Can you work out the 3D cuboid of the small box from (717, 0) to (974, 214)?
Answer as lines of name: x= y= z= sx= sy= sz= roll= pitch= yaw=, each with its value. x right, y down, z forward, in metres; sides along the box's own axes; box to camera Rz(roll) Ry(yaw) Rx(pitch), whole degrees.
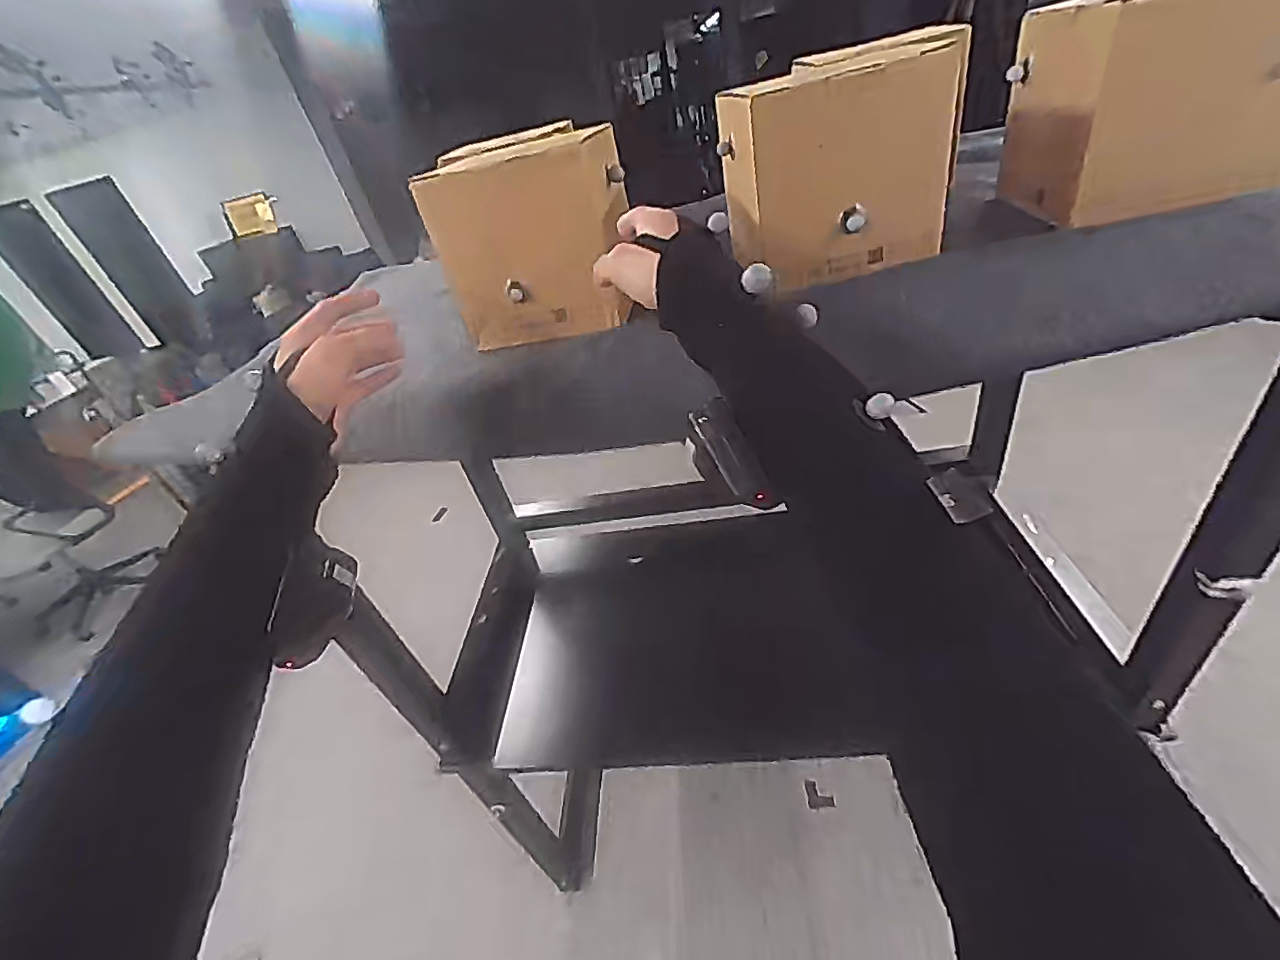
small box: x=0.171 y=-0.359 z=0.495 sx=0.168 sy=0.176 sz=0.179 roll=-11 pitch=37 yaw=5

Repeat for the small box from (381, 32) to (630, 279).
small box: x=-0.111 y=-0.316 z=0.537 sx=0.168 sy=0.176 sz=0.179 roll=-5 pitch=37 yaw=12
